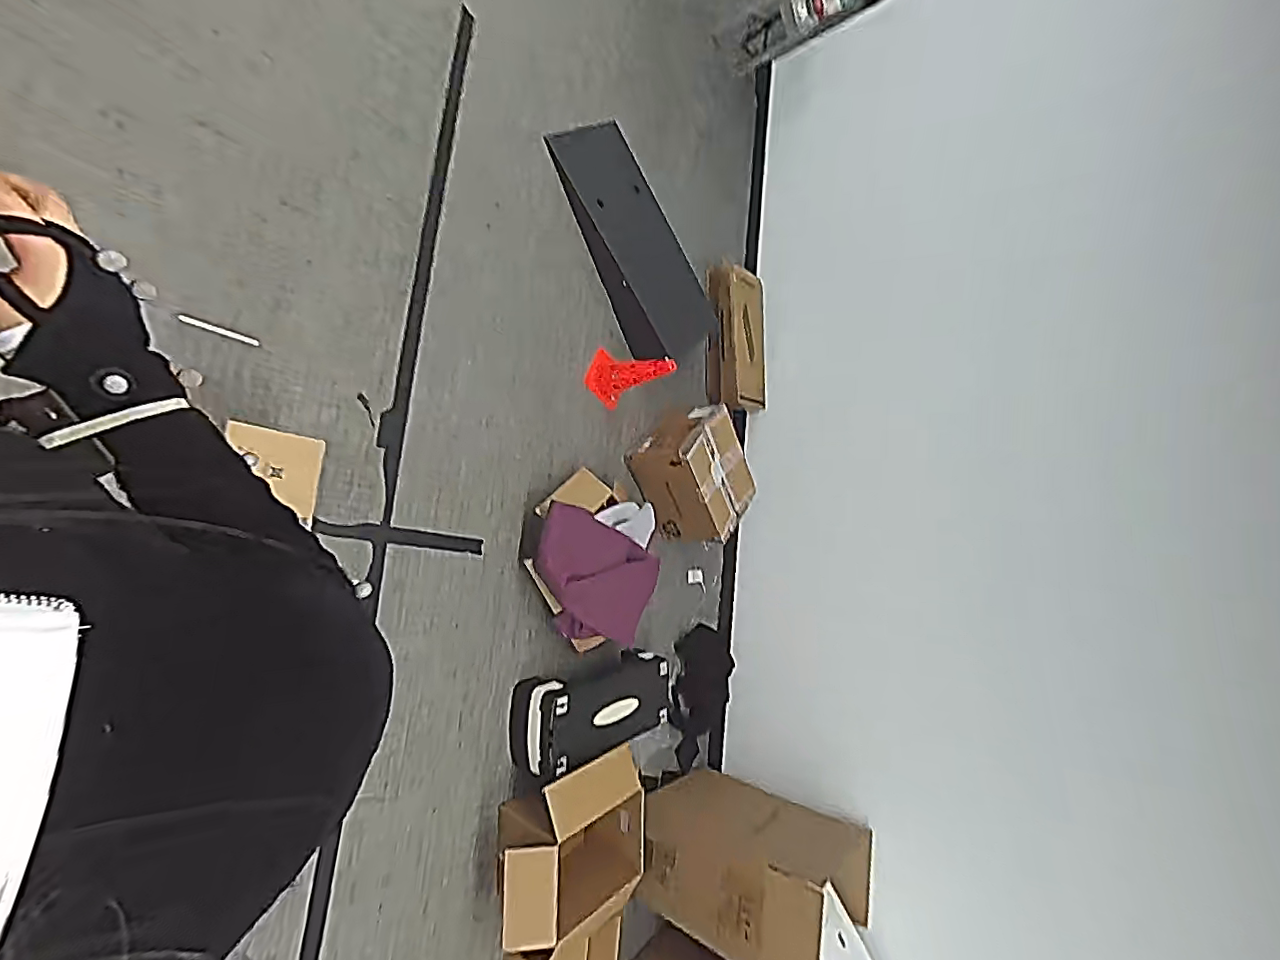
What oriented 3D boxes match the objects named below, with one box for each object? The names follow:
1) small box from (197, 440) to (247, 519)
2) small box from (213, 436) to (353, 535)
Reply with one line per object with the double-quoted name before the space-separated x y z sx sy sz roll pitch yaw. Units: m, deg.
"small box" -0.833 0.013 1.190 0.179 0.176 0.168 15 77 -49
"small box" -0.710 0.016 1.079 0.179 0.176 0.168 16 75 -50
